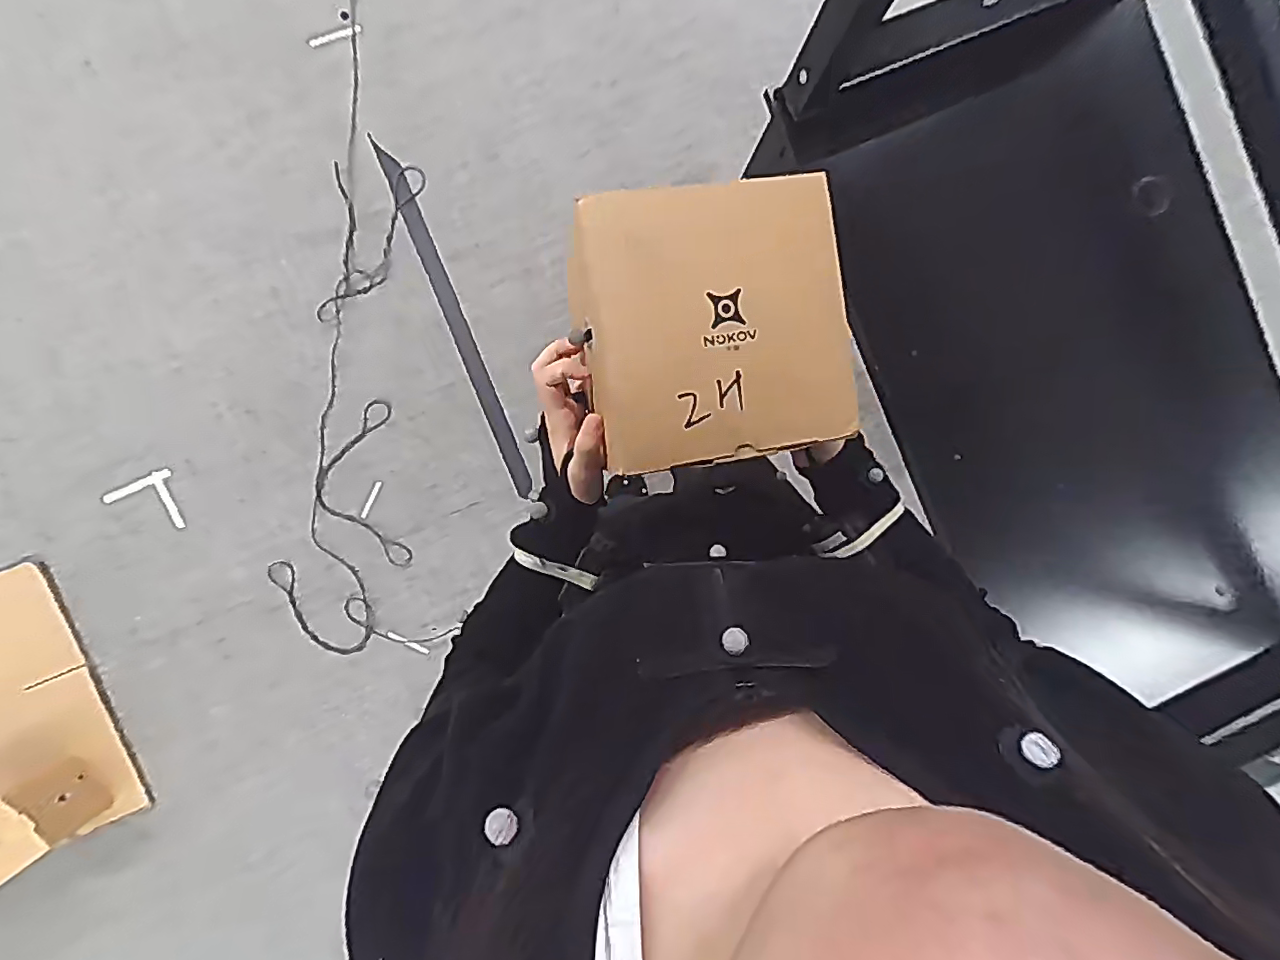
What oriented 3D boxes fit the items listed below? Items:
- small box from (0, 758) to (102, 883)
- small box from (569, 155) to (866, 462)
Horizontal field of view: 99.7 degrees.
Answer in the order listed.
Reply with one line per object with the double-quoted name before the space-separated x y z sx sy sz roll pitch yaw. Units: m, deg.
"small box" -1.457 0.810 1.289 0.179 0.176 0.168 -36 94 -4
"small box" 0.042 -0.111 0.414 0.168 0.176 0.179 -10 95 -9
